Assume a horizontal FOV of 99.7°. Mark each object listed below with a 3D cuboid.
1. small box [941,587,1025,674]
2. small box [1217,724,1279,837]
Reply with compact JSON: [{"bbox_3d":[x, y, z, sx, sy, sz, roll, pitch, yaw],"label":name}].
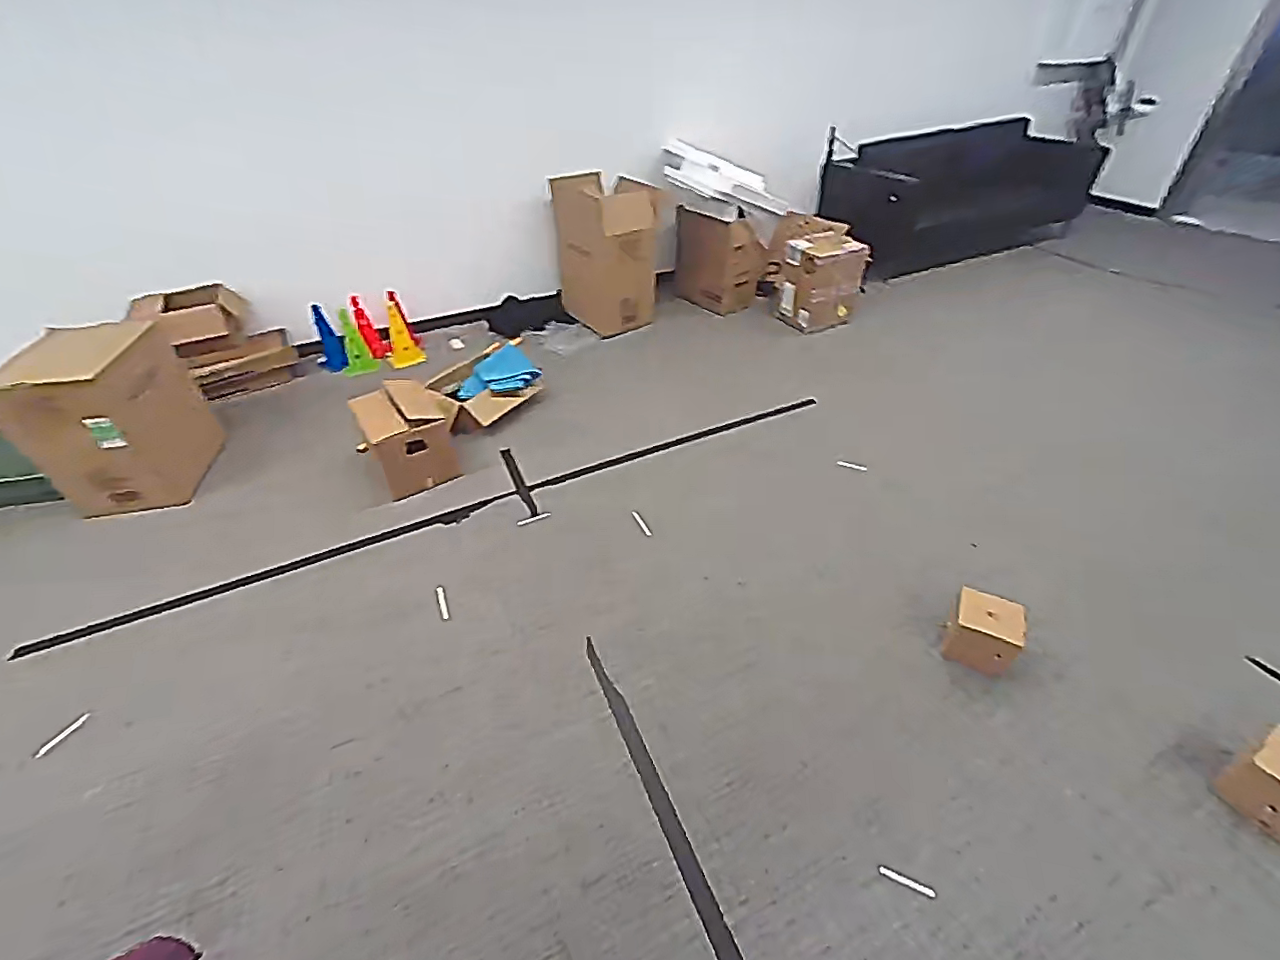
[{"bbox_3d":[1.059,0.470,1.673,0.179,0.176,0.168,17,42,23],"label":"small box"},{"bbox_3d":[1.577,0.743,1.314,0.179,0.176,0.168,-24,45,-23],"label":"small box"}]
